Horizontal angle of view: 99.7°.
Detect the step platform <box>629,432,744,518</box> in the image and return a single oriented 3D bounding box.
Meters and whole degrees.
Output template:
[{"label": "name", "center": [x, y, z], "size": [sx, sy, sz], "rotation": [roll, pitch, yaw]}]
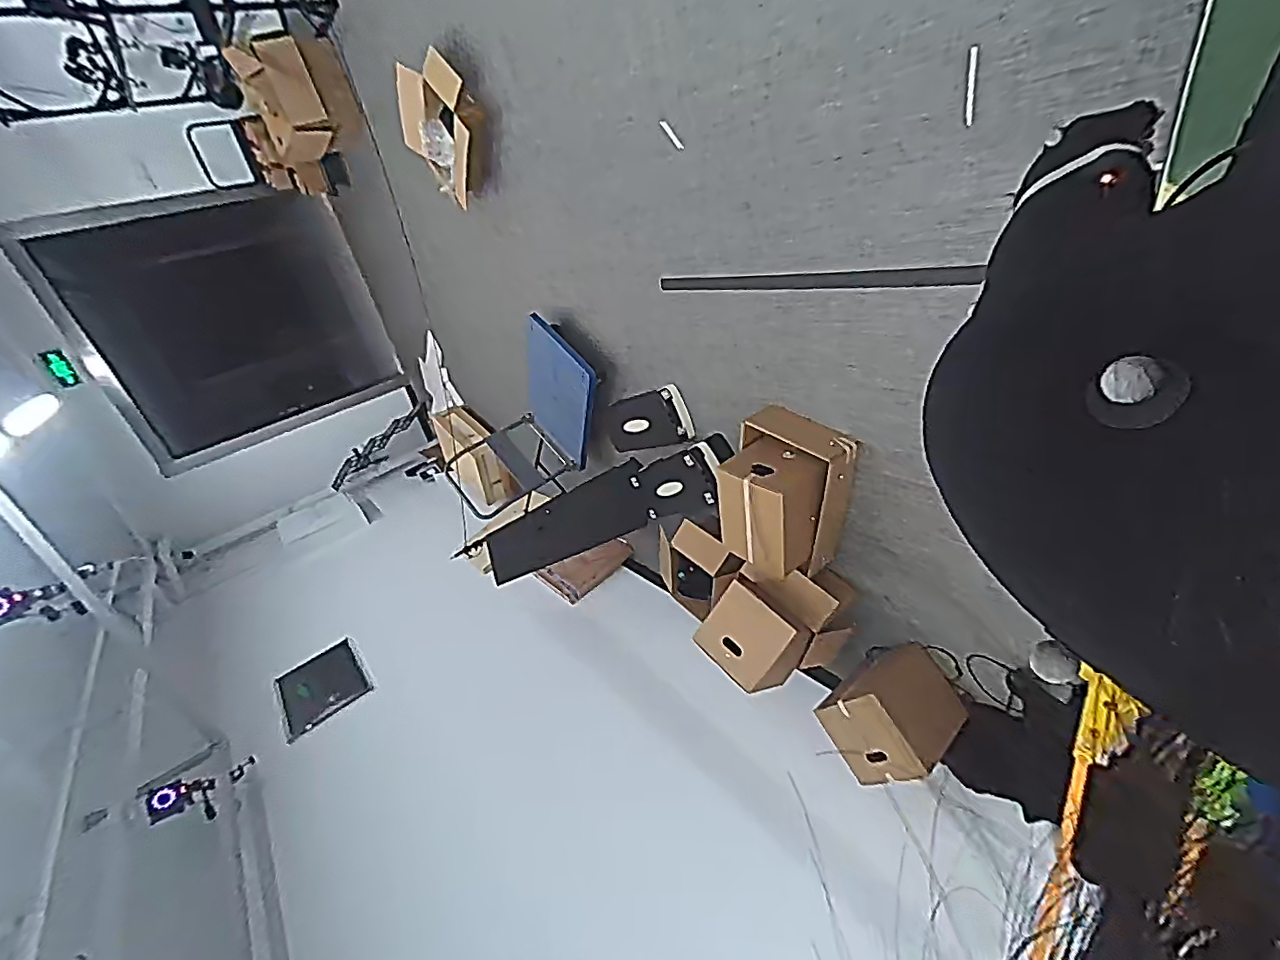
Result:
[{"label": "step platform", "center": [0.207, -0.005, 2.718], "size": [0.286, 0.204, 0.684], "rotation": [61, 150, -4]}]
